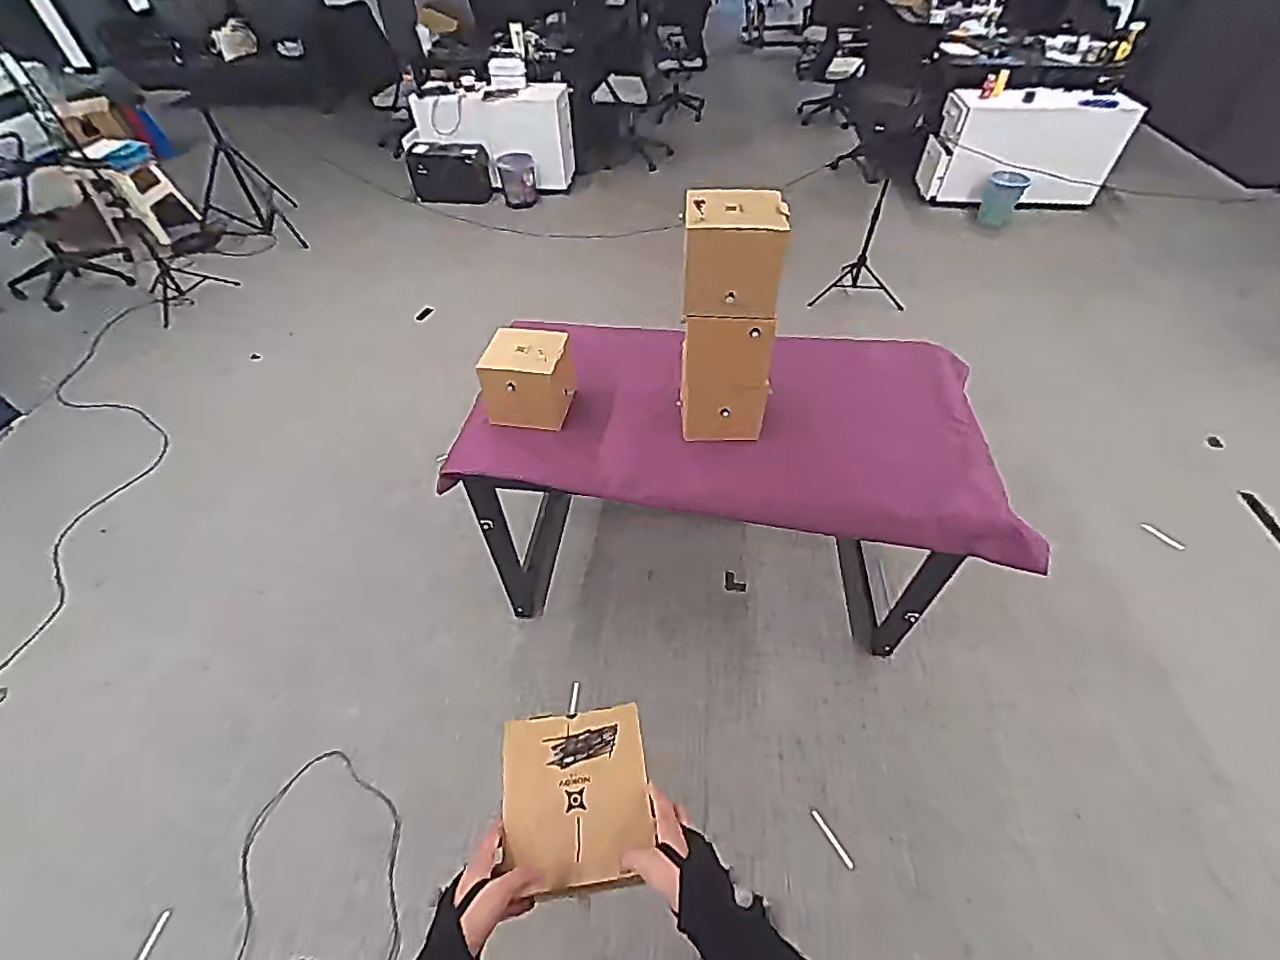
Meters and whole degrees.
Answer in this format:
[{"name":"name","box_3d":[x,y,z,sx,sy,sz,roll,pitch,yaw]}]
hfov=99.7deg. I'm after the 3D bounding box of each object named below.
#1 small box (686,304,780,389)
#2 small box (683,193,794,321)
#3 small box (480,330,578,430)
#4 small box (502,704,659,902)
[{"name":"small box","box_3d":[0.187,-0.307,1.137,0.179,0.176,0.168,3,49,3]},{"name":"small box","box_3d":[0.177,-0.415,1.013,0.179,0.176,0.168,4,48,3]},{"name":"small box","box_3d":[-0.256,-0.236,1.292,0.179,0.176,0.168,7,48,6]},{"name":"small box","box_3d":[-0.073,0.404,0.676,0.168,0.176,0.179,-6,51,-5]}]
